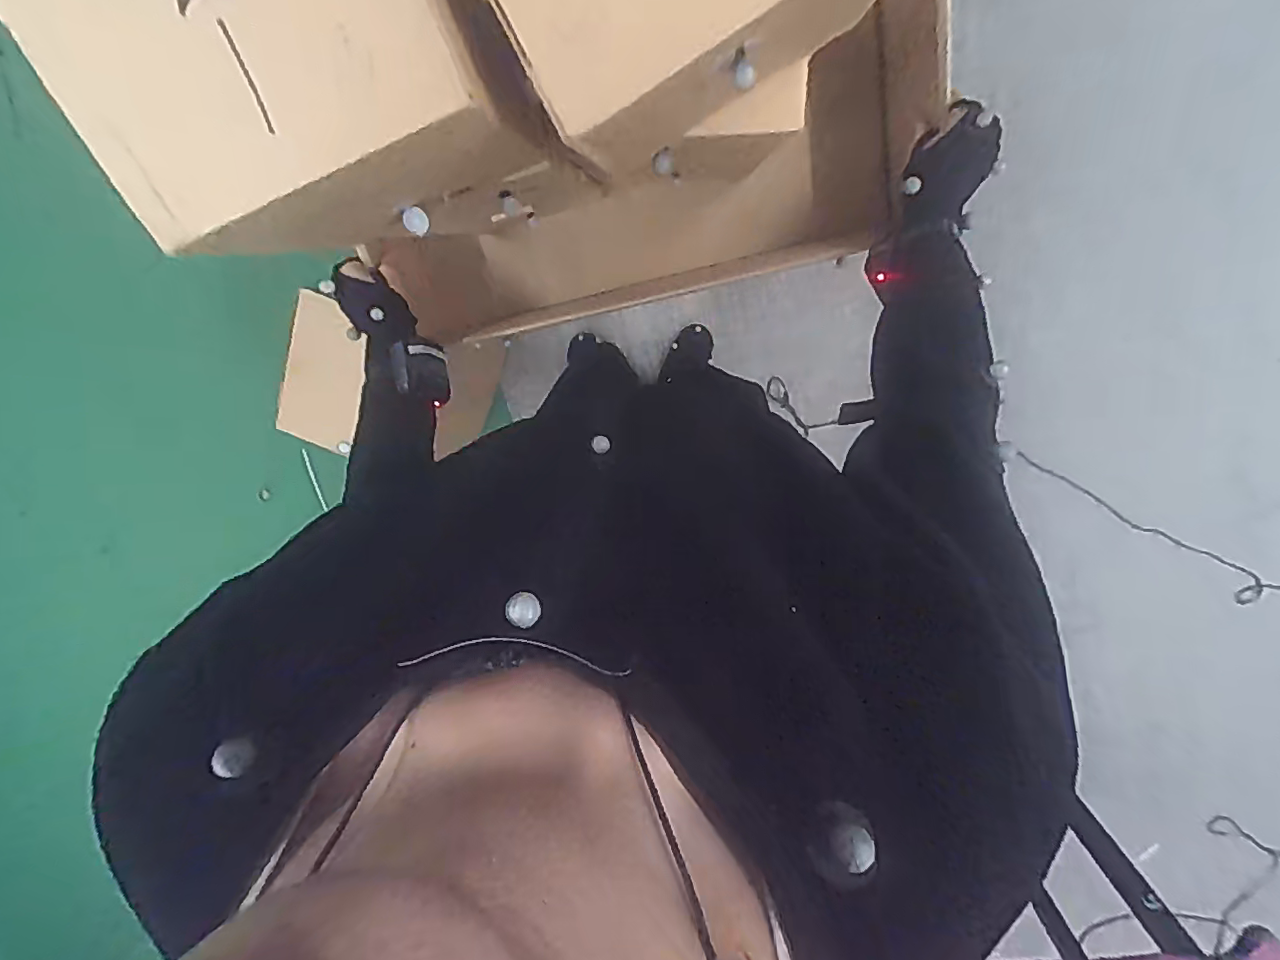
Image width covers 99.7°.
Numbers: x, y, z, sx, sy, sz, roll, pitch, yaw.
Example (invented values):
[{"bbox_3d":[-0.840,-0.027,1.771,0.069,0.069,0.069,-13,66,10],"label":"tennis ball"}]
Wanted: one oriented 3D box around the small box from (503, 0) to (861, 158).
[{"bbox_3d":[0.016,-0.282,0.253,0.179,0.176,0.168,-24,110,15],"label":"small box"}]
